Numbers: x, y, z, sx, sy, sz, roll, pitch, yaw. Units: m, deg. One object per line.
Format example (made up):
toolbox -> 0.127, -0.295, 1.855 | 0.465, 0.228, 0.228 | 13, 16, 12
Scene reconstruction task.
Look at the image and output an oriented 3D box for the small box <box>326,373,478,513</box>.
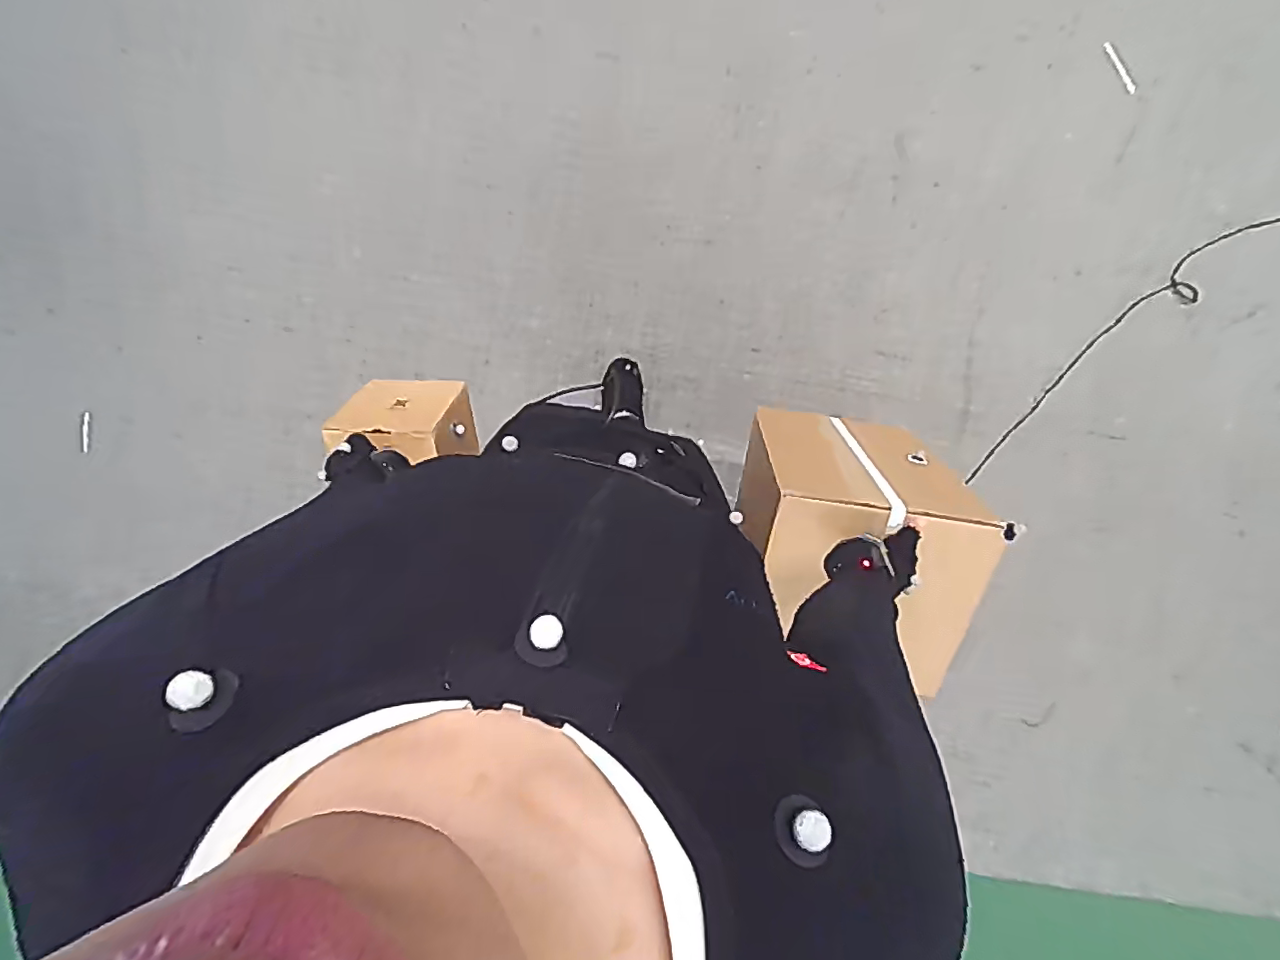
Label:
small box -> -0.380, -0.065, 0.904 | 0.168, 0.179, 0.176 | 1, 126, 2
